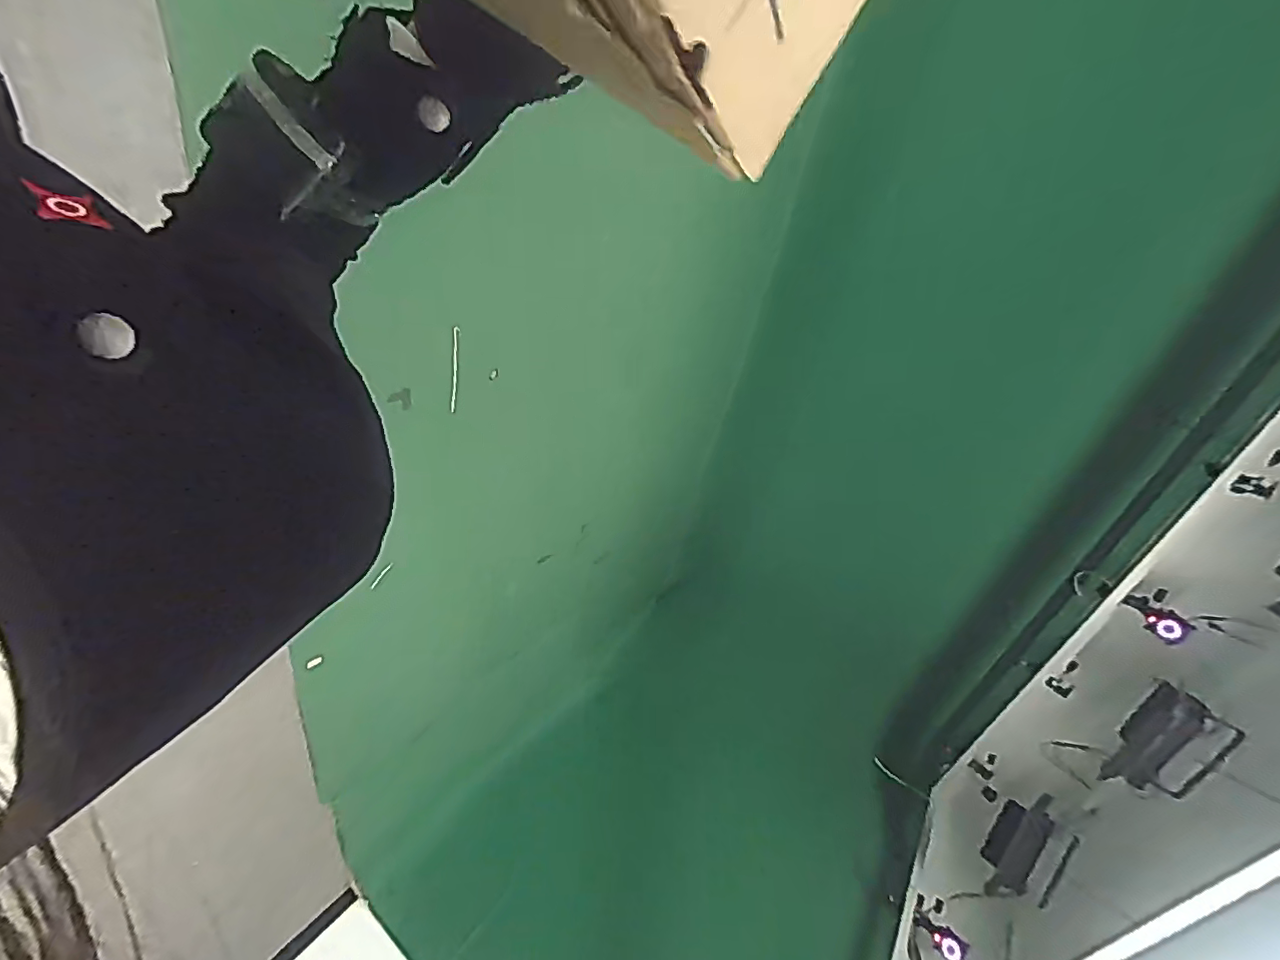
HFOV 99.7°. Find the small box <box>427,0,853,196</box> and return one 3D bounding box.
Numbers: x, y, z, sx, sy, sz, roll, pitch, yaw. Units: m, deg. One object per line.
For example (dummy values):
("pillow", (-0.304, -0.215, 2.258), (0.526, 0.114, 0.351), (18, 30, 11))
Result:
("small box", (-0.012, -0.211, 0.120), (0.179, 0.176, 0.168), (-56, 171, 20))
